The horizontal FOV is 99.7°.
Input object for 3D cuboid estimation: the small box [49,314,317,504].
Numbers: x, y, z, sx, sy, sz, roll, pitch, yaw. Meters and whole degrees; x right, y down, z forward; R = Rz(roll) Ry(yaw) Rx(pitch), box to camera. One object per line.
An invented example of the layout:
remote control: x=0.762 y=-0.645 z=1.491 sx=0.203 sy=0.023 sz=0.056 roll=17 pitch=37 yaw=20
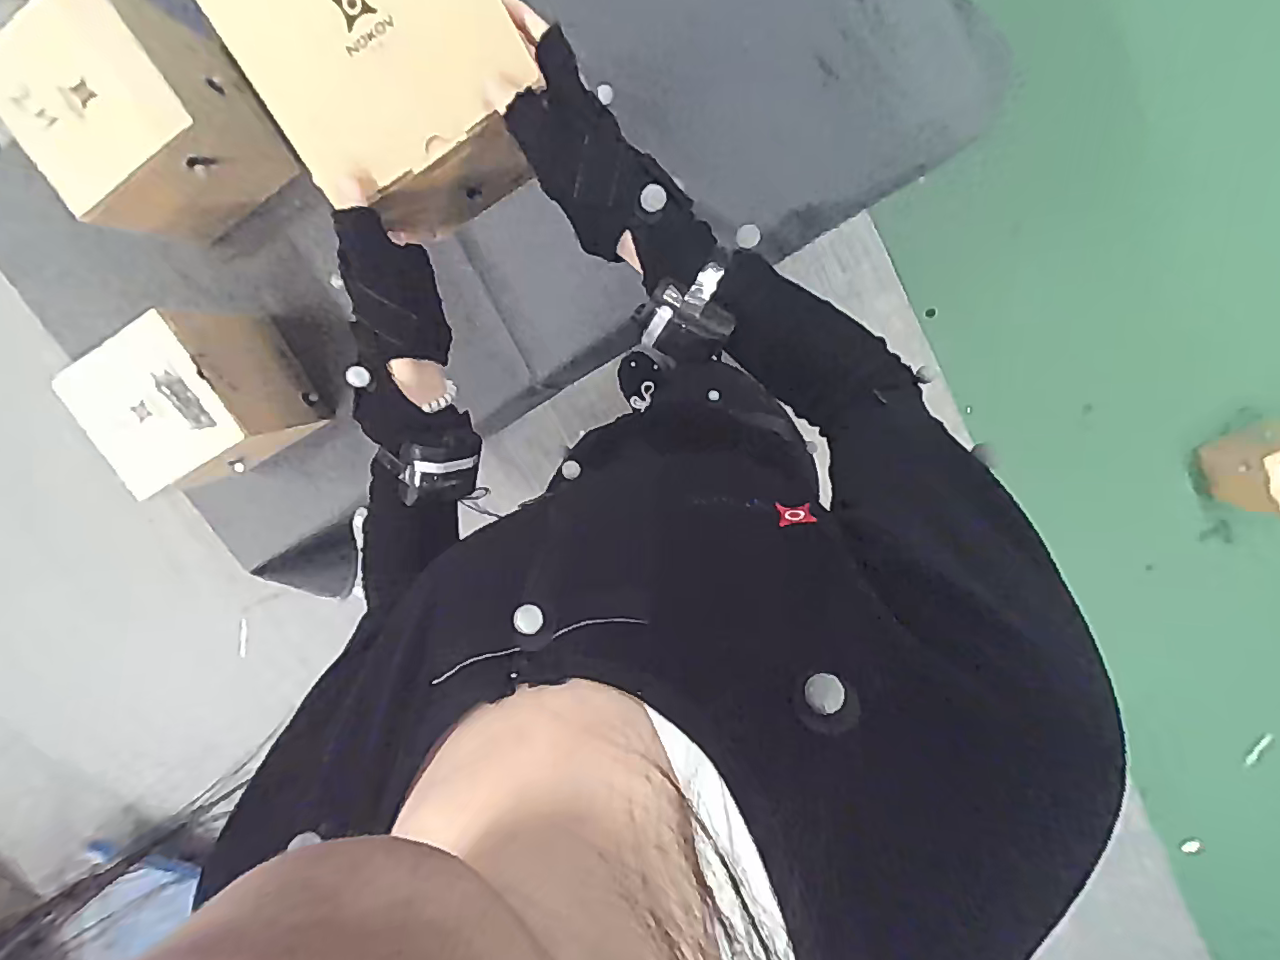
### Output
small box: x=-0.561 y=-0.097 z=0.698 sx=0.179 sy=0.176 sz=0.168 roll=-27 pitch=100 yaw=10

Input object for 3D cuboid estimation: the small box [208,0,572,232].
small box: x=-0.168 y=-0.312 z=0.407 sx=0.168 sy=0.176 sz=0.179 roll=-27 pitch=108 yaw=9

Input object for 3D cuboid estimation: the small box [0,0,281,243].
small box: x=-0.560 y=-0.401 z=0.619 sx=0.179 sy=0.176 sz=0.168 roll=-30 pitch=101 yaw=10
